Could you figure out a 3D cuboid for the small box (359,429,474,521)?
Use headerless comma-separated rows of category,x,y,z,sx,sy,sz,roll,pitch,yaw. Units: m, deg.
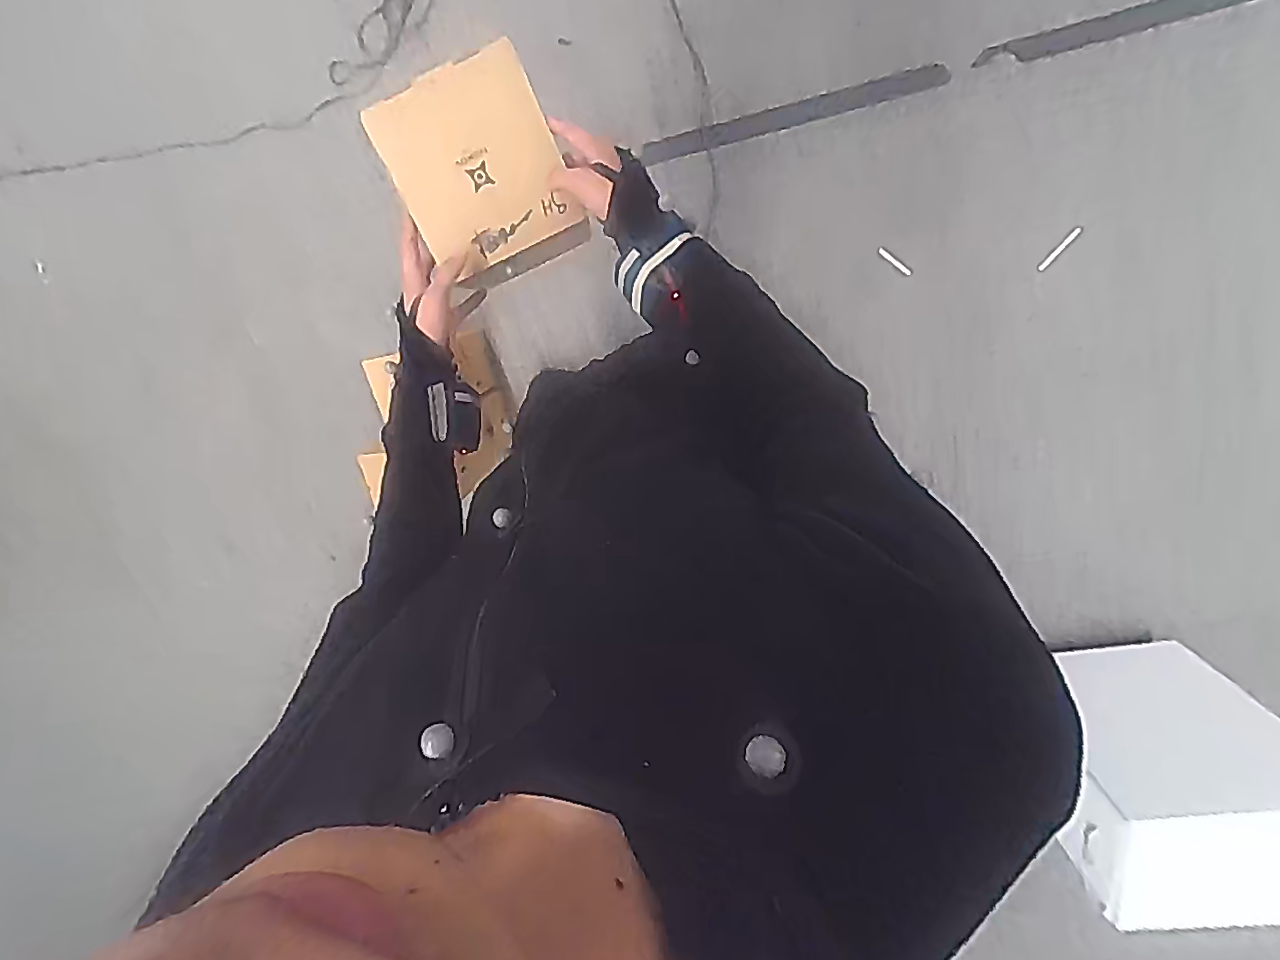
small box,-0.517,-0.015,1.274,0.179,0.176,0.168,-4,112,7
